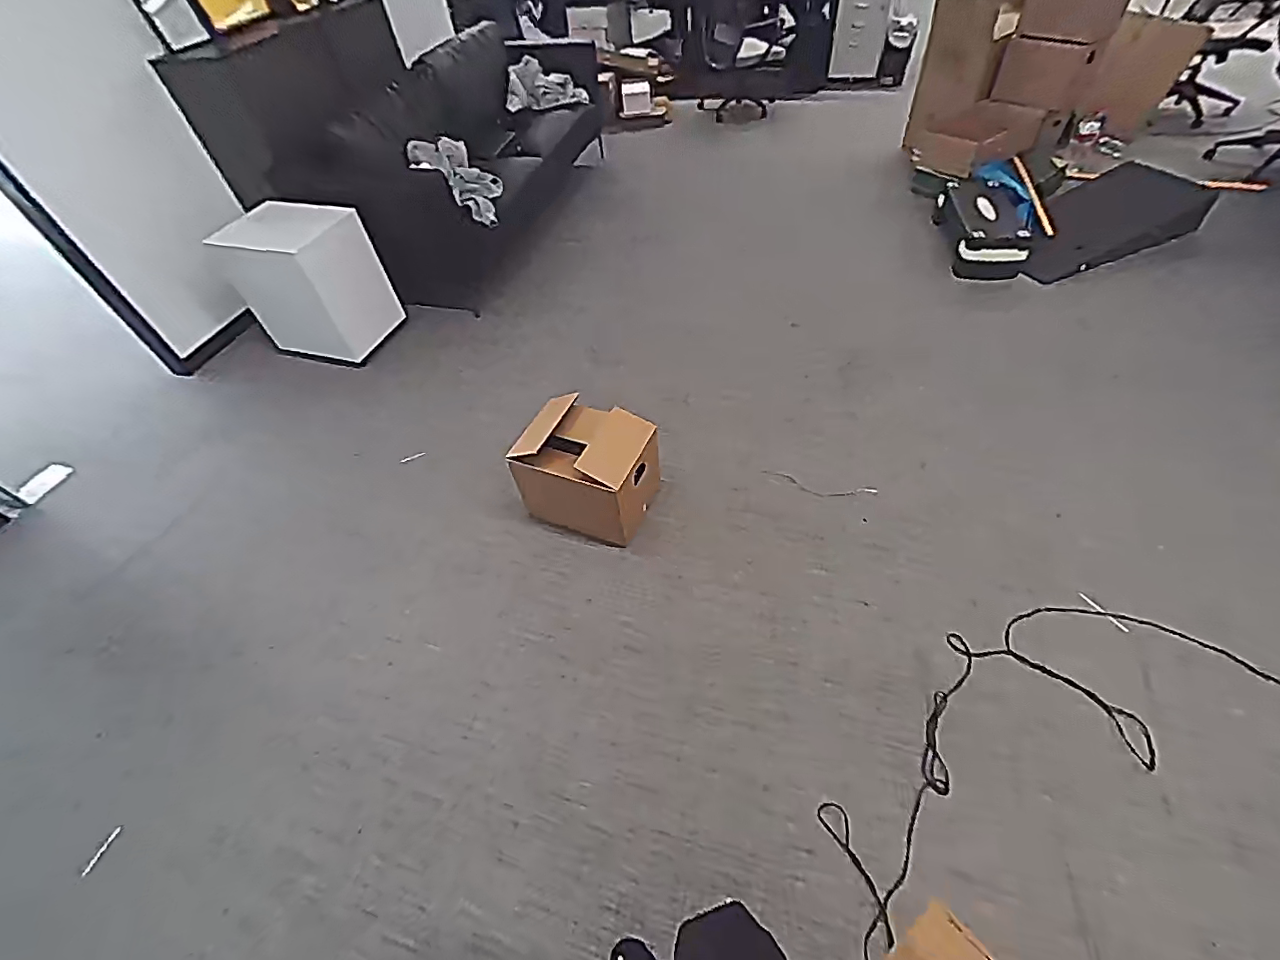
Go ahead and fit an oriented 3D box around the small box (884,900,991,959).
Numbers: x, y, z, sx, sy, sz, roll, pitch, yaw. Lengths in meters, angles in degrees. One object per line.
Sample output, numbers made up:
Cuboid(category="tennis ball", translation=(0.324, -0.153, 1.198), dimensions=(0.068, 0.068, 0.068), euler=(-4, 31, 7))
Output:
Cuboid(category="small box", translation=(0.360, 0.664, 0.642), dimensions=(0.168, 0.179, 0.176), euler=(35, 94, 40))
